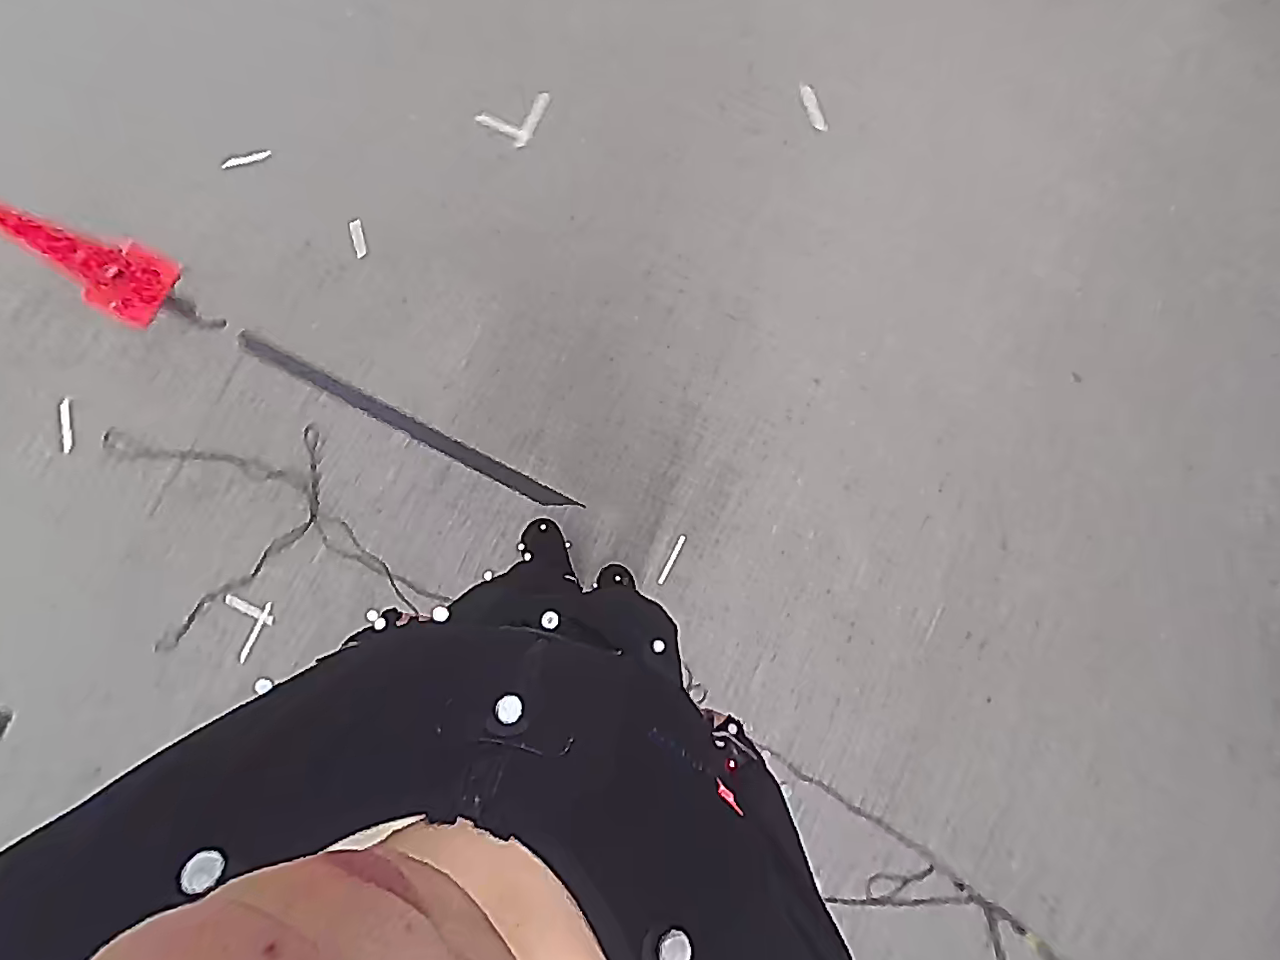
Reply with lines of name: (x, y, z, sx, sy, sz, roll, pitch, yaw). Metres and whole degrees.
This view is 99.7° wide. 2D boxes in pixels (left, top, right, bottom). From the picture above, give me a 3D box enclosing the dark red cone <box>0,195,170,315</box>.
dark red cone: (-1.353, -0.561, 1.255, 0.202, 0.394, 0.201, 26, 86, 2)
